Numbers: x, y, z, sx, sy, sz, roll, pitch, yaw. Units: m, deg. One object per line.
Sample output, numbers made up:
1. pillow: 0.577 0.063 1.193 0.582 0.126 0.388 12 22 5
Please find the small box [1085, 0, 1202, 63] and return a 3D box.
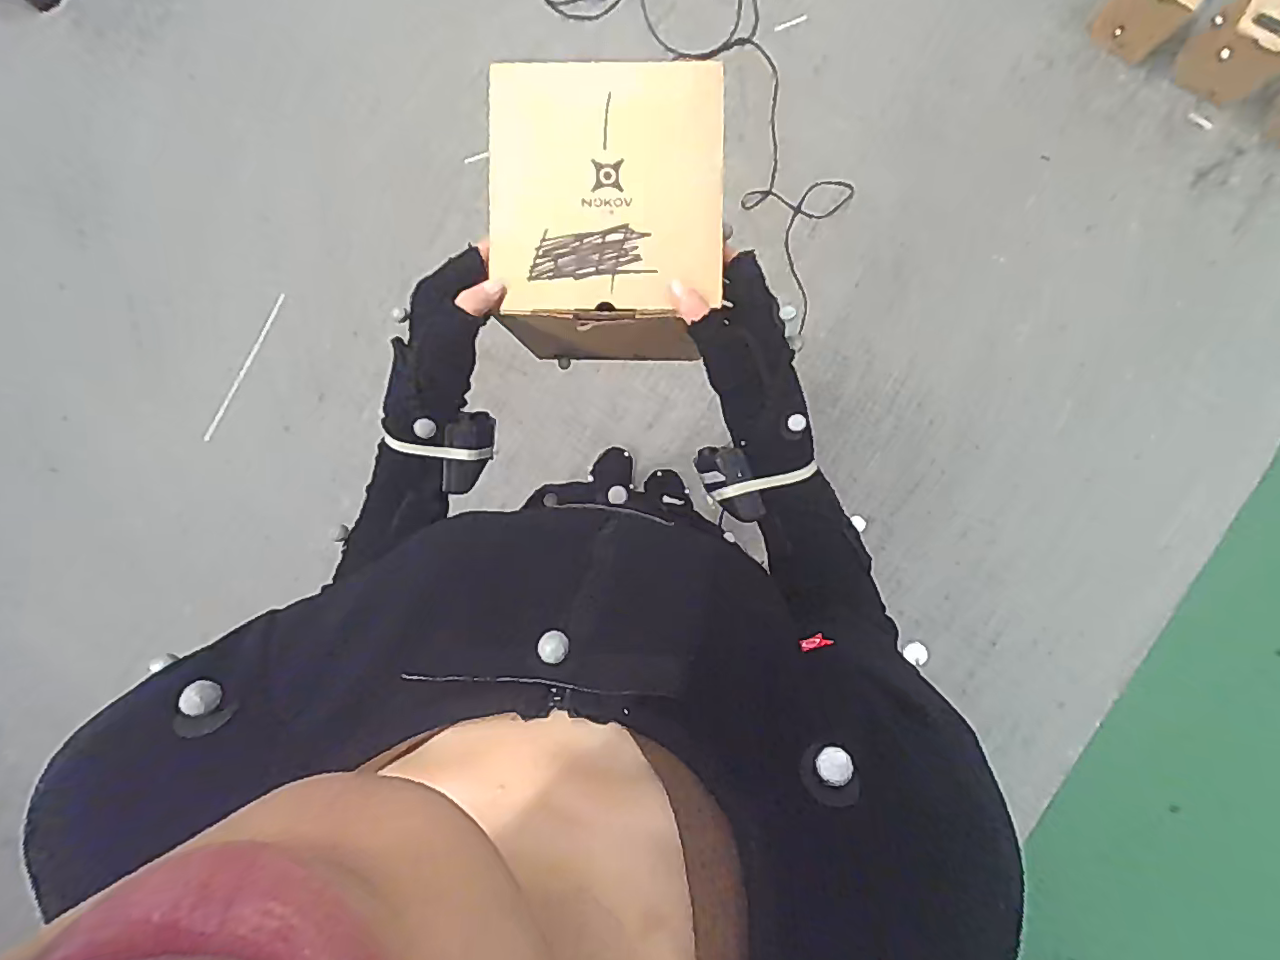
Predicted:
1. small box: 1.267 -1.202 1.337 0.168 0.176 0.179 32 93 2
